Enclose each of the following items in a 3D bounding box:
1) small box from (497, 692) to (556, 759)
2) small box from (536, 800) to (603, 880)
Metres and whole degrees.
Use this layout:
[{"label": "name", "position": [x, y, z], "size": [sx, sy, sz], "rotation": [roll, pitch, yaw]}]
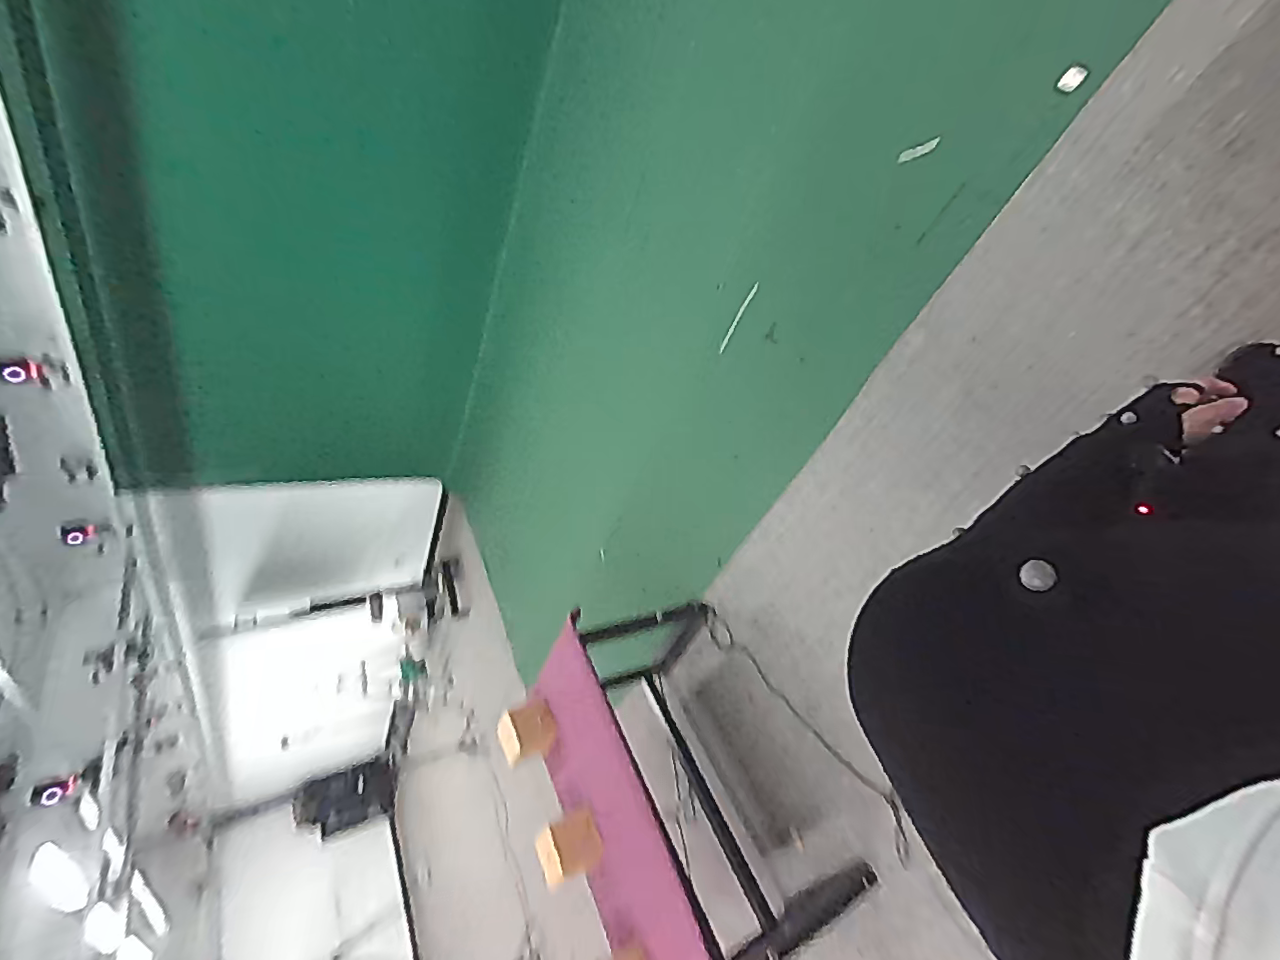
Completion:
[{"label": "small box", "position": [-0.462, 1.000, 2.209], "size": [0.168, 0.176, 0.179], "rotation": [55, 134, 31]}, {"label": "small box", "position": [-0.254, 1.304, 1.963], "size": [0.168, 0.176, 0.179], "rotation": [57, 134, 34]}]
